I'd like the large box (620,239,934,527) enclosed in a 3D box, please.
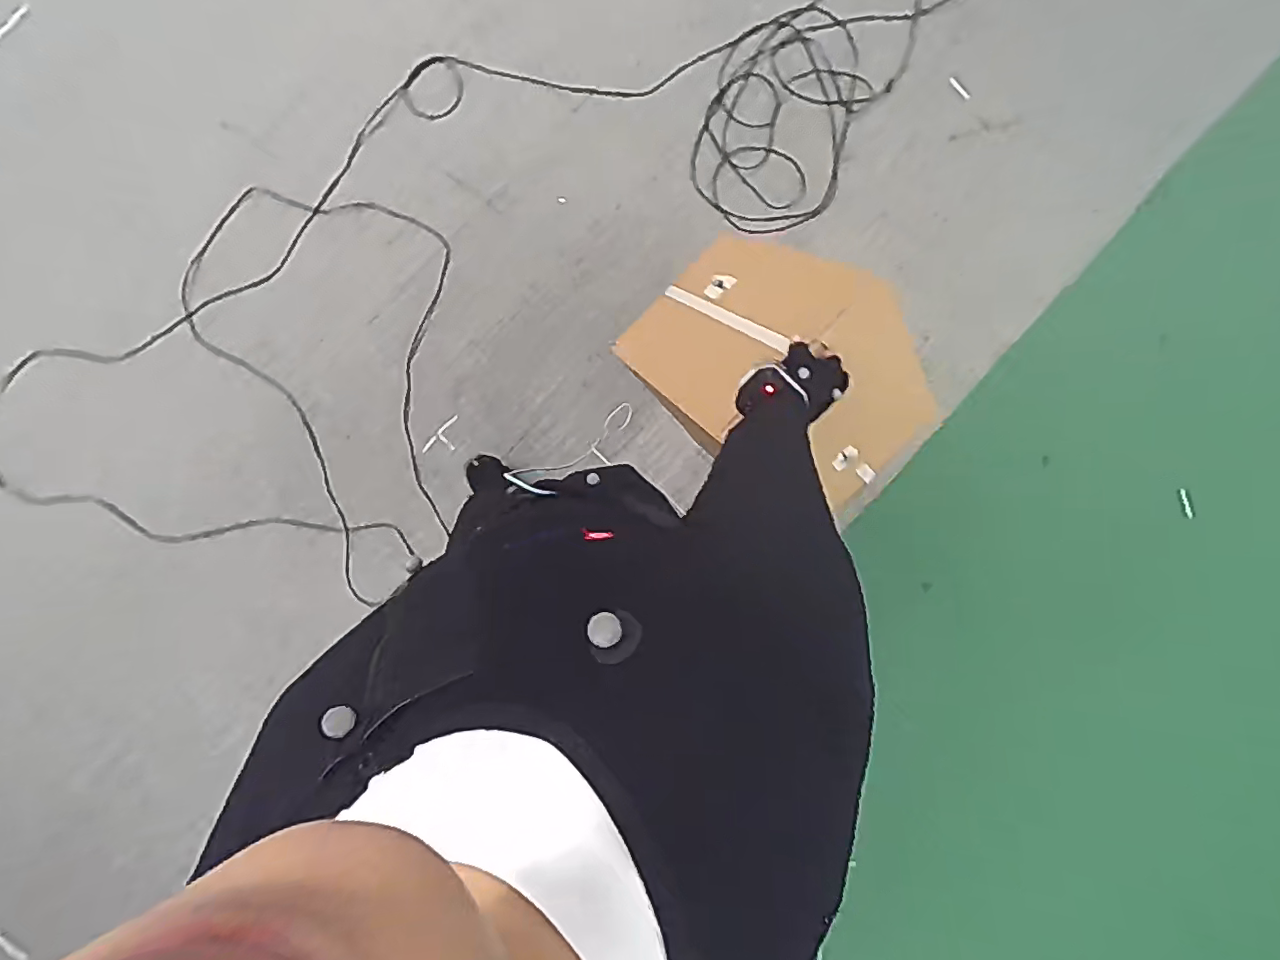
[{"bbox_3d":[0.232,-0.187,0.987,0.320,0.408,0.320,-44,128,4],"label":"large box"}]
